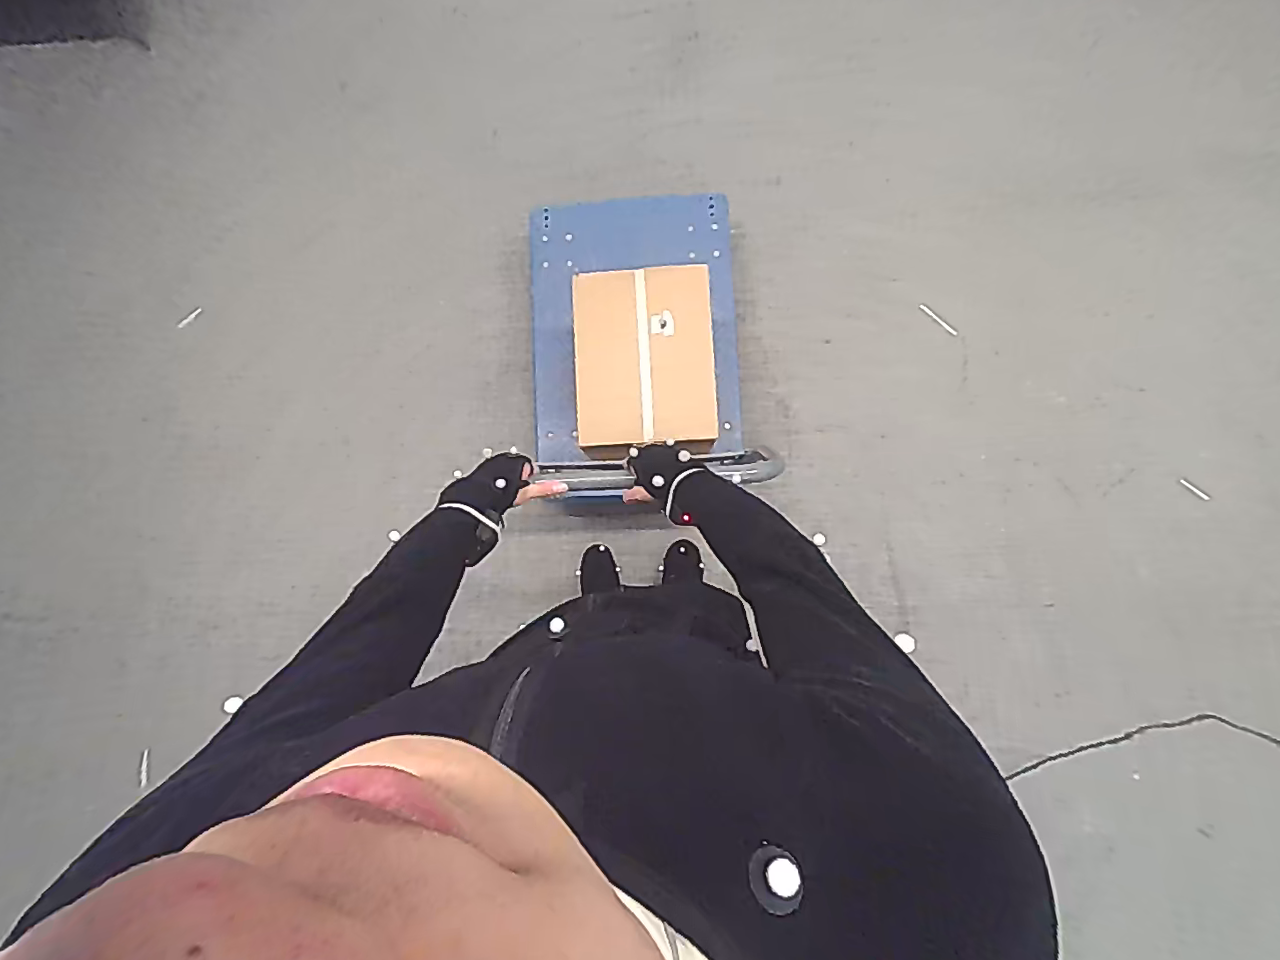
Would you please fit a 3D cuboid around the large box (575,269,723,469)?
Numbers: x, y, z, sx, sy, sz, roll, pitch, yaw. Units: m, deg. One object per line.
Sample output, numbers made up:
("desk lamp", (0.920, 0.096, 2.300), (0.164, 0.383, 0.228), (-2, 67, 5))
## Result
("large box", (0.024, -0.252, 1.346), (0.320, 0.320, 0.408), (-3, 83, 2))
